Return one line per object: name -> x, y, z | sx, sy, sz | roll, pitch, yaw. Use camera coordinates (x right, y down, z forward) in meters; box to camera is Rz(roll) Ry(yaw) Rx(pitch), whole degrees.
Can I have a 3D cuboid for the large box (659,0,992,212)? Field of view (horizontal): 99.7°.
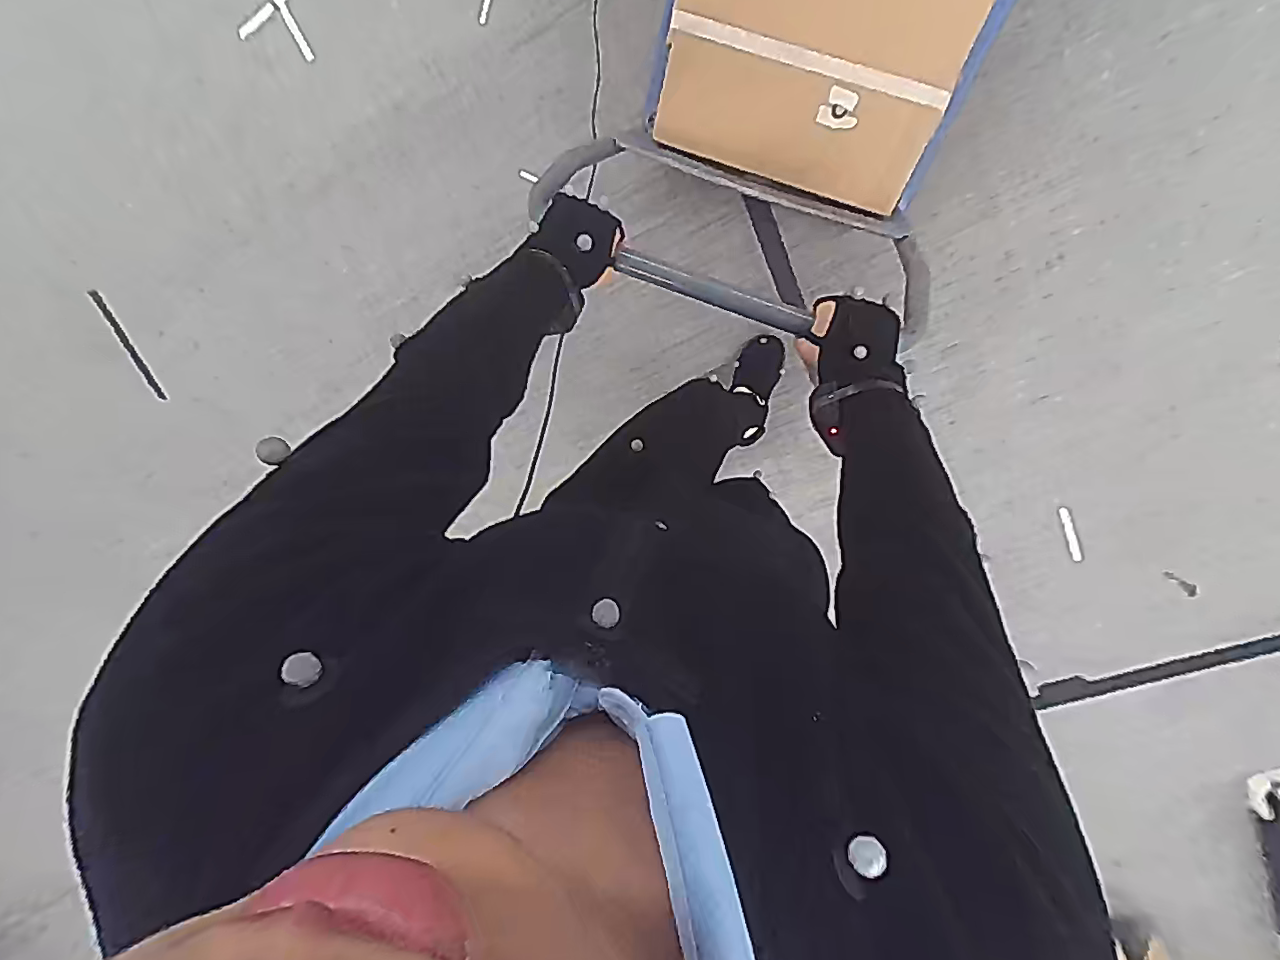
large box -> 0.284, -0.689, 0.909 | 0.408, 0.320, 0.320 | 20, 127, 3
